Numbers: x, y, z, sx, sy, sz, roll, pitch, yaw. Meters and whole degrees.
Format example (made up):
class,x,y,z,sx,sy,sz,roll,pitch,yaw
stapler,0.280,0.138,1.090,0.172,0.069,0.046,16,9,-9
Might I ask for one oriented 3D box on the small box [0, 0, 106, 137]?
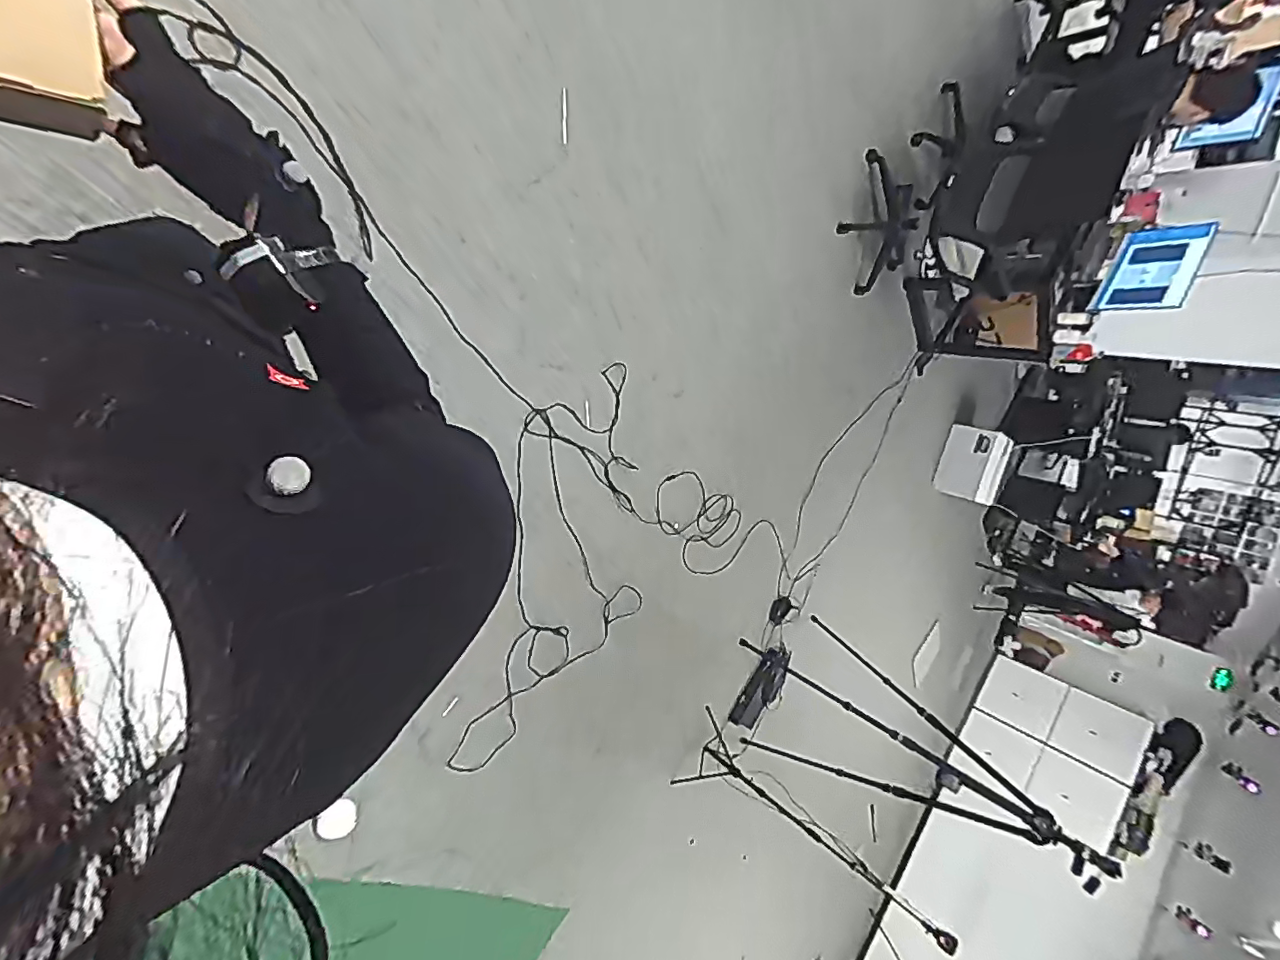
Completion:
class,x,y,z,sx,sy,sz,roll,pitch,yaw
small box,-0.420,-0.315,0.291,0.168,0.176,0.179,-10,114,-44
